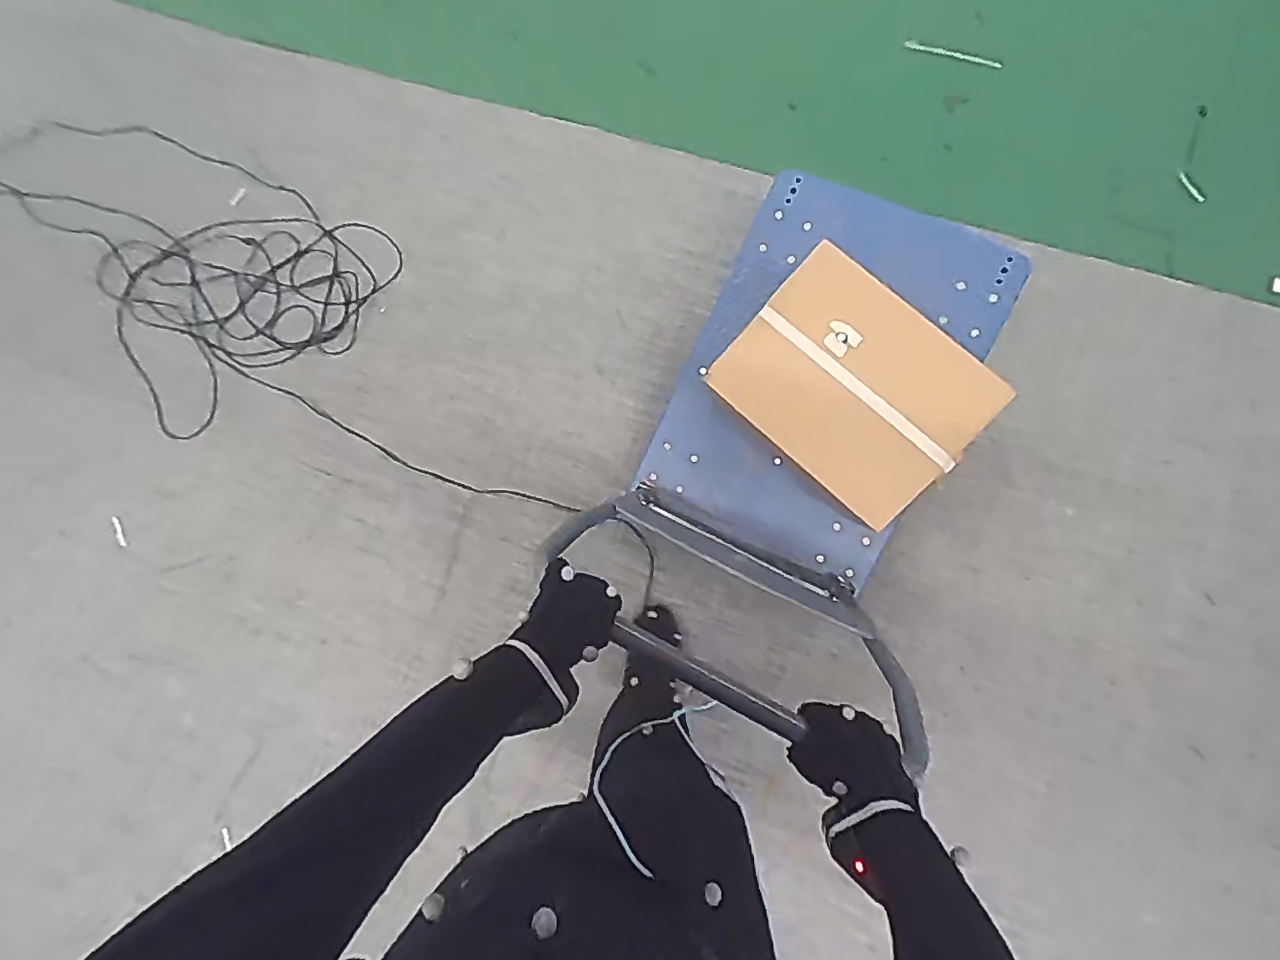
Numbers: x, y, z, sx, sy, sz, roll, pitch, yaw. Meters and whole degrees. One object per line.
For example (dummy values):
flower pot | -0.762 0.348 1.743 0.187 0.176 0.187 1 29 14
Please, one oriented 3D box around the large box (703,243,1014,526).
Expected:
large box | 0.387 -0.164 1.052 0.408 0.320 0.320 43 98 9
